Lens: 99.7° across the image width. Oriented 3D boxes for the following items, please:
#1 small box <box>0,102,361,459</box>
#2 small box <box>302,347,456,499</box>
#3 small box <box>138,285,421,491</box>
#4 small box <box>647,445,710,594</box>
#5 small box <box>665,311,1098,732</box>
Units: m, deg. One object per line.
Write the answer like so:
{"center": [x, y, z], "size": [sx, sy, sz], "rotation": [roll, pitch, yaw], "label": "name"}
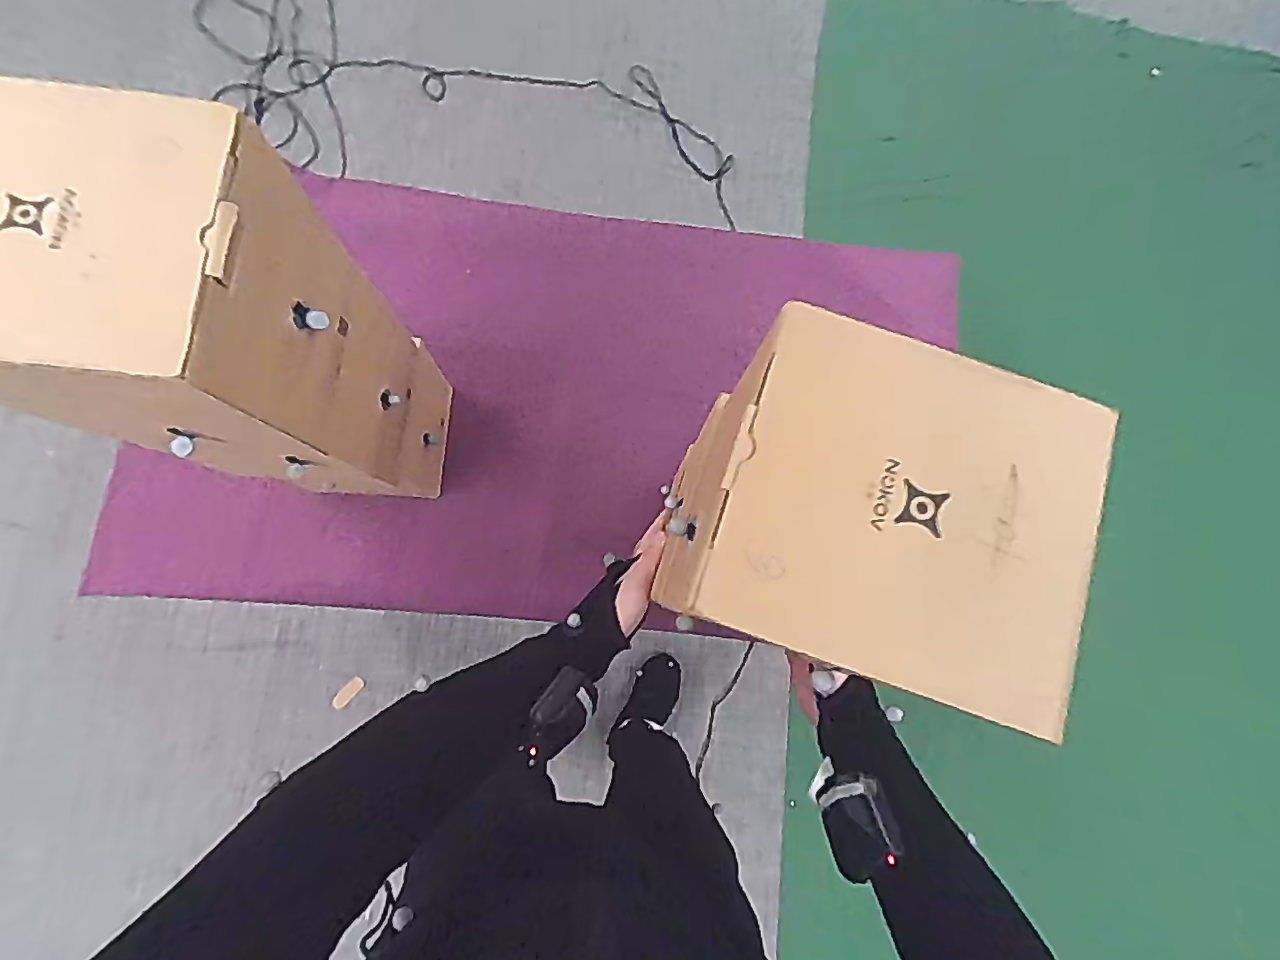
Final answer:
{"center": [-0.323, -0.115, 0.377], "size": [0.179, 0.176, 0.168], "rotation": [5, 78, -4], "label": "small box"}
{"center": [-0.352, -0.070, 0.702], "size": [0.179, 0.176, 0.168], "rotation": [4, 79, -3], "label": "small box"}
{"center": [-0.338, -0.087, 0.538], "size": [0.179, 0.176, 0.168], "rotation": [5, 78, -3], "label": "small box"}
{"center": [0.113, 0.077, 0.664], "size": [0.179, 0.176, 0.168], "rotation": [17, 78, 1], "label": "small box"}
{"center": [0.122, 0.029, 0.341], "size": [0.179, 0.176, 0.168], "rotation": [19, 79, 2], "label": "small box"}
